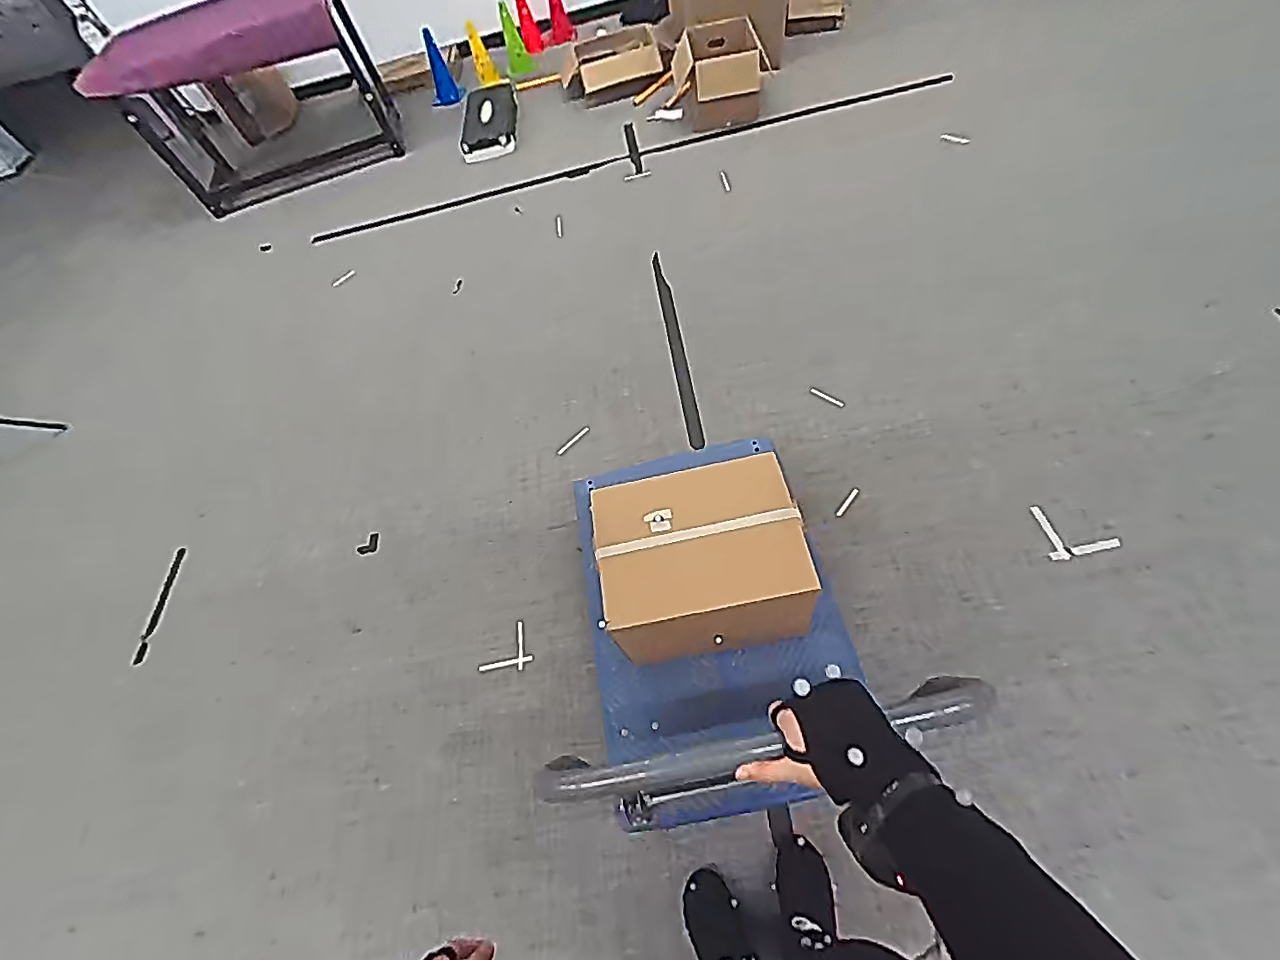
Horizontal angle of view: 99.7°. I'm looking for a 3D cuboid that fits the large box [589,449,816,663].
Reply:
[{"bbox_3d":[0.134,0.181,1.194,0.408,0.320,0.320,-13,56,4],"label":"large box"}]
